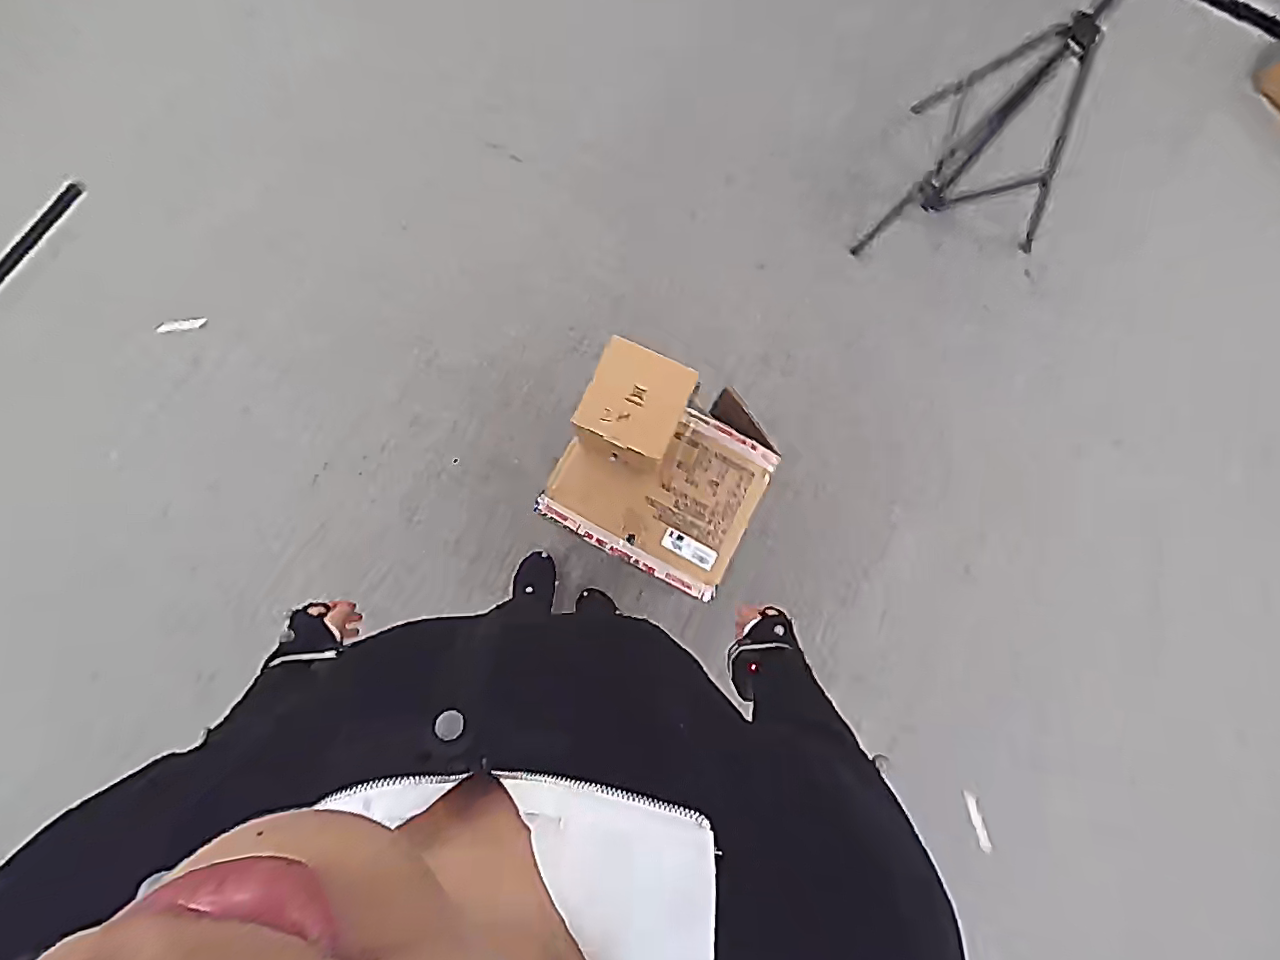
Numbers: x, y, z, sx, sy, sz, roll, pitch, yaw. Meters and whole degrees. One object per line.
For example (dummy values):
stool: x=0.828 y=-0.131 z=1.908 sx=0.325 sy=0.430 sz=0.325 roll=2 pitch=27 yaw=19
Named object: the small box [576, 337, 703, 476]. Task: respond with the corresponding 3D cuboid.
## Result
small box: x=-0.003 y=-0.126 z=0.994 sx=0.168 sy=0.176 sz=0.179 roll=25 pitch=82 yaw=3
